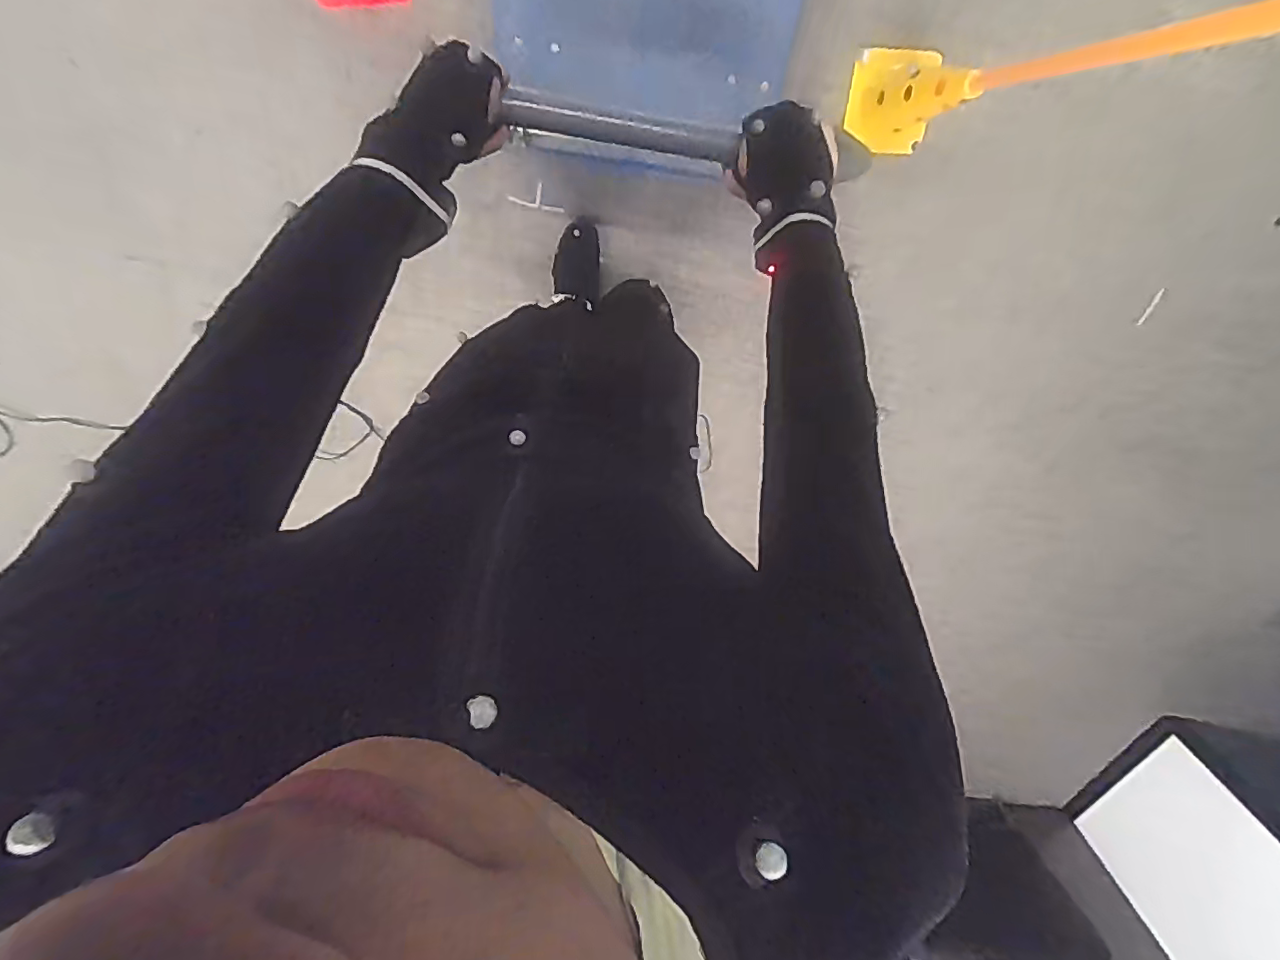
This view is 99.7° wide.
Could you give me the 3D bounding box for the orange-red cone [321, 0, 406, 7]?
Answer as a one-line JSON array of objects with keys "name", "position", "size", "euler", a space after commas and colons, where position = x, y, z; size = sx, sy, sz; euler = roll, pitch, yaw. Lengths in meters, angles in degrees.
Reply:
[{"name": "orange-red cone", "position": [-0.567, -0.979, 0.922], "size": [0.199, 0.360, 0.198], "euler": [-2, 121, 0]}]
